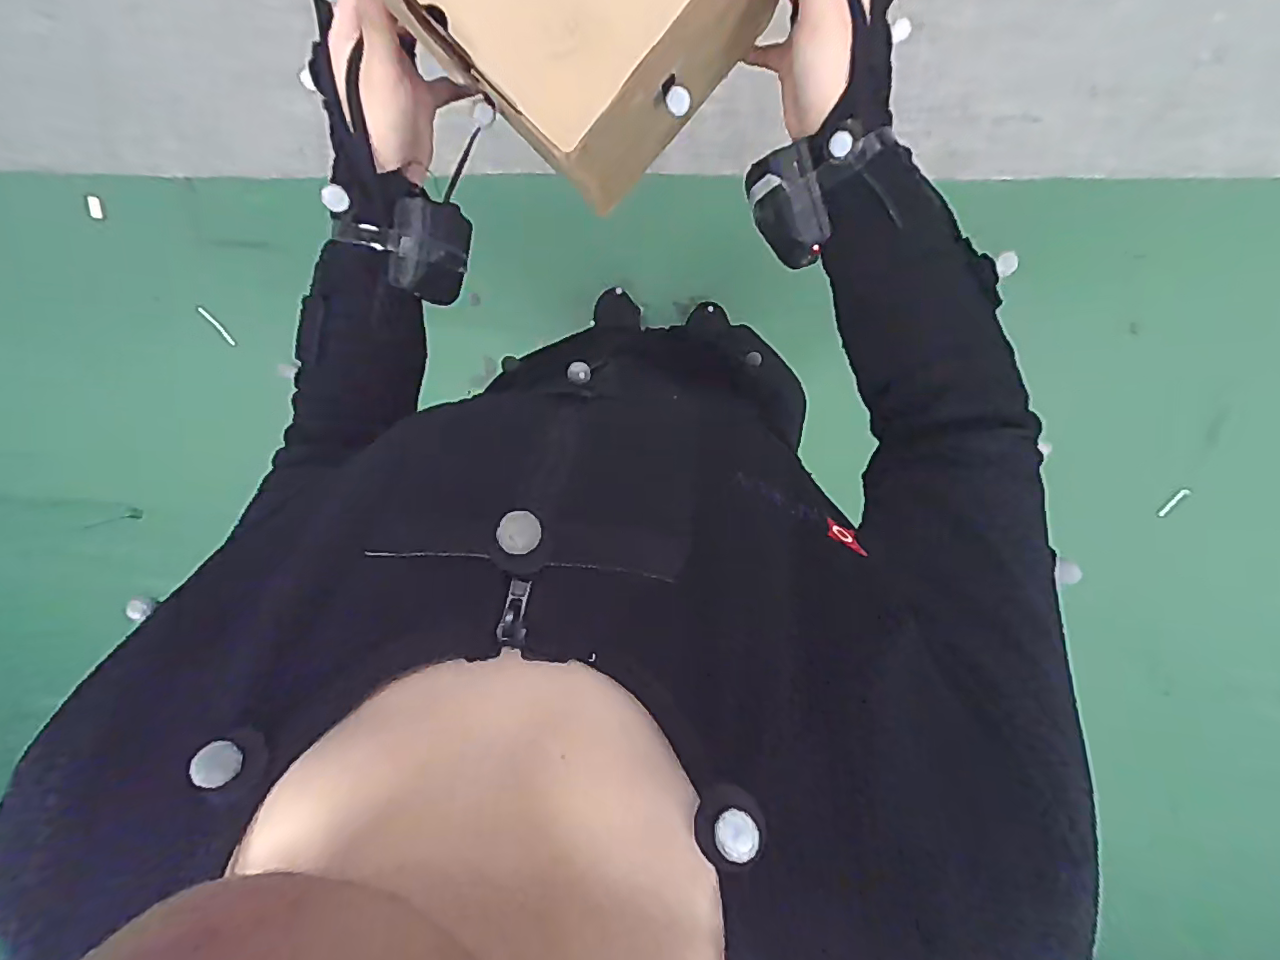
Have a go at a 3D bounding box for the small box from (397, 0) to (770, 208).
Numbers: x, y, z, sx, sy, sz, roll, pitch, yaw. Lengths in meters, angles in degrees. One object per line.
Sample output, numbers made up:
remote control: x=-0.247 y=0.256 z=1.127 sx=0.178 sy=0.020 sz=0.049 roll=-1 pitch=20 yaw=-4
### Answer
small box: x=-0.029 y=-0.292 z=0.313 sx=0.168 sy=0.176 sz=0.179 roll=43 pitch=105 yaw=-9
